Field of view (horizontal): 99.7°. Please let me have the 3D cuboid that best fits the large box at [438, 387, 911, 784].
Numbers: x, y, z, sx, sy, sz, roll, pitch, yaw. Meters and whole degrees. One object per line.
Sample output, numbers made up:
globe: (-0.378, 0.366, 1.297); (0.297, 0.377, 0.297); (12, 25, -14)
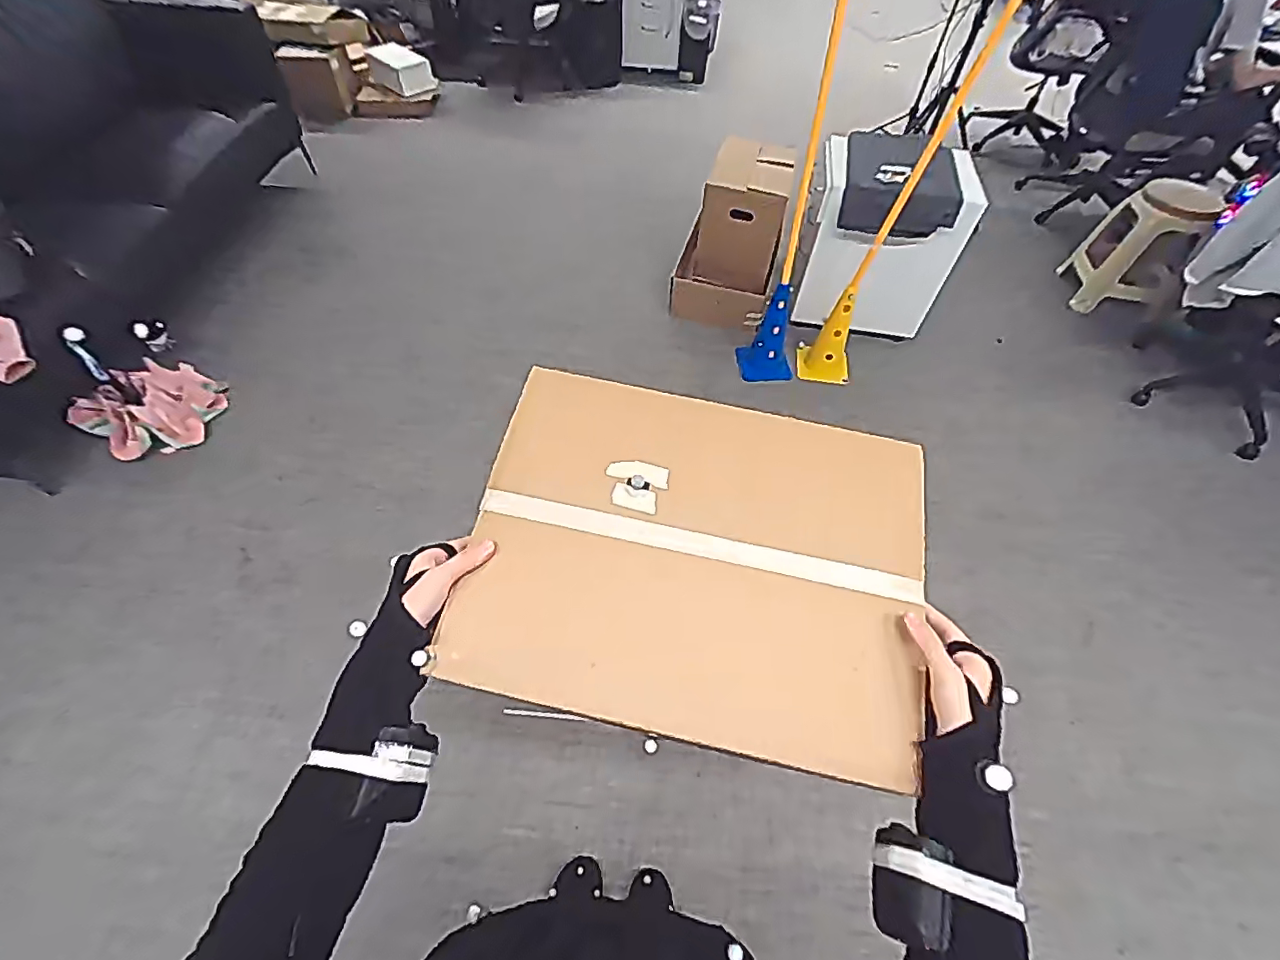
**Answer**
large box: (0.051, 0.132, 0.639); (0.408, 0.320, 0.320); (12, 65, 4)
